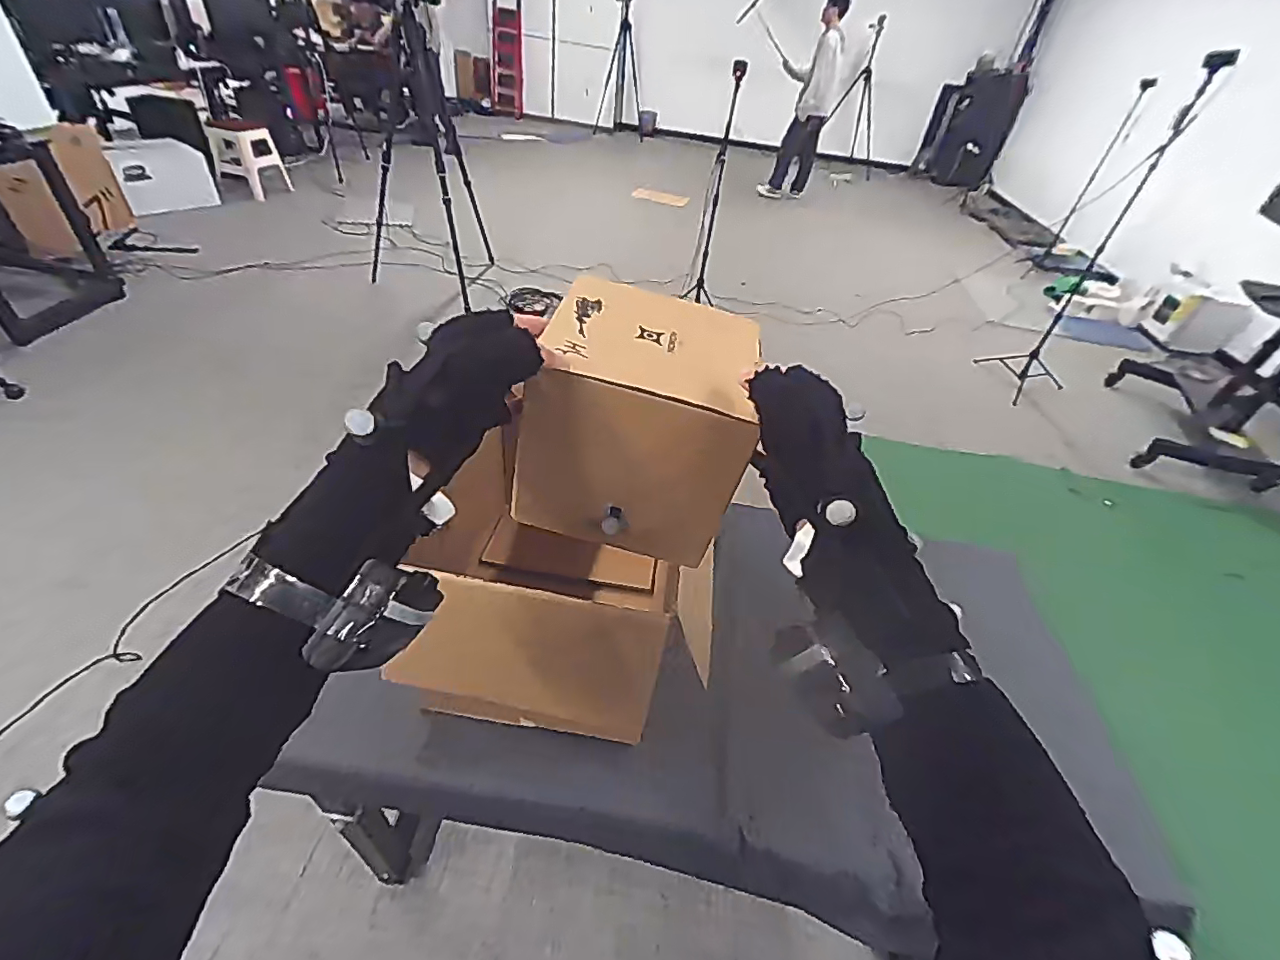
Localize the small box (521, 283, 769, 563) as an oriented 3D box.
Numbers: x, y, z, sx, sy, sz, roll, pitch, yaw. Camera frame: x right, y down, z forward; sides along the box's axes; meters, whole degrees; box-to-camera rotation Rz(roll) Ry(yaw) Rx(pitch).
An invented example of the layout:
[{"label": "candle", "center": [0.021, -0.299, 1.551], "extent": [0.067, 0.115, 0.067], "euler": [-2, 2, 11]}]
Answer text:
[{"label": "small box", "center": [0.003, -0.048, 0.494], "extent": [0.179, 0.176, 0.168], "euler": [15, 42, -2]}]
